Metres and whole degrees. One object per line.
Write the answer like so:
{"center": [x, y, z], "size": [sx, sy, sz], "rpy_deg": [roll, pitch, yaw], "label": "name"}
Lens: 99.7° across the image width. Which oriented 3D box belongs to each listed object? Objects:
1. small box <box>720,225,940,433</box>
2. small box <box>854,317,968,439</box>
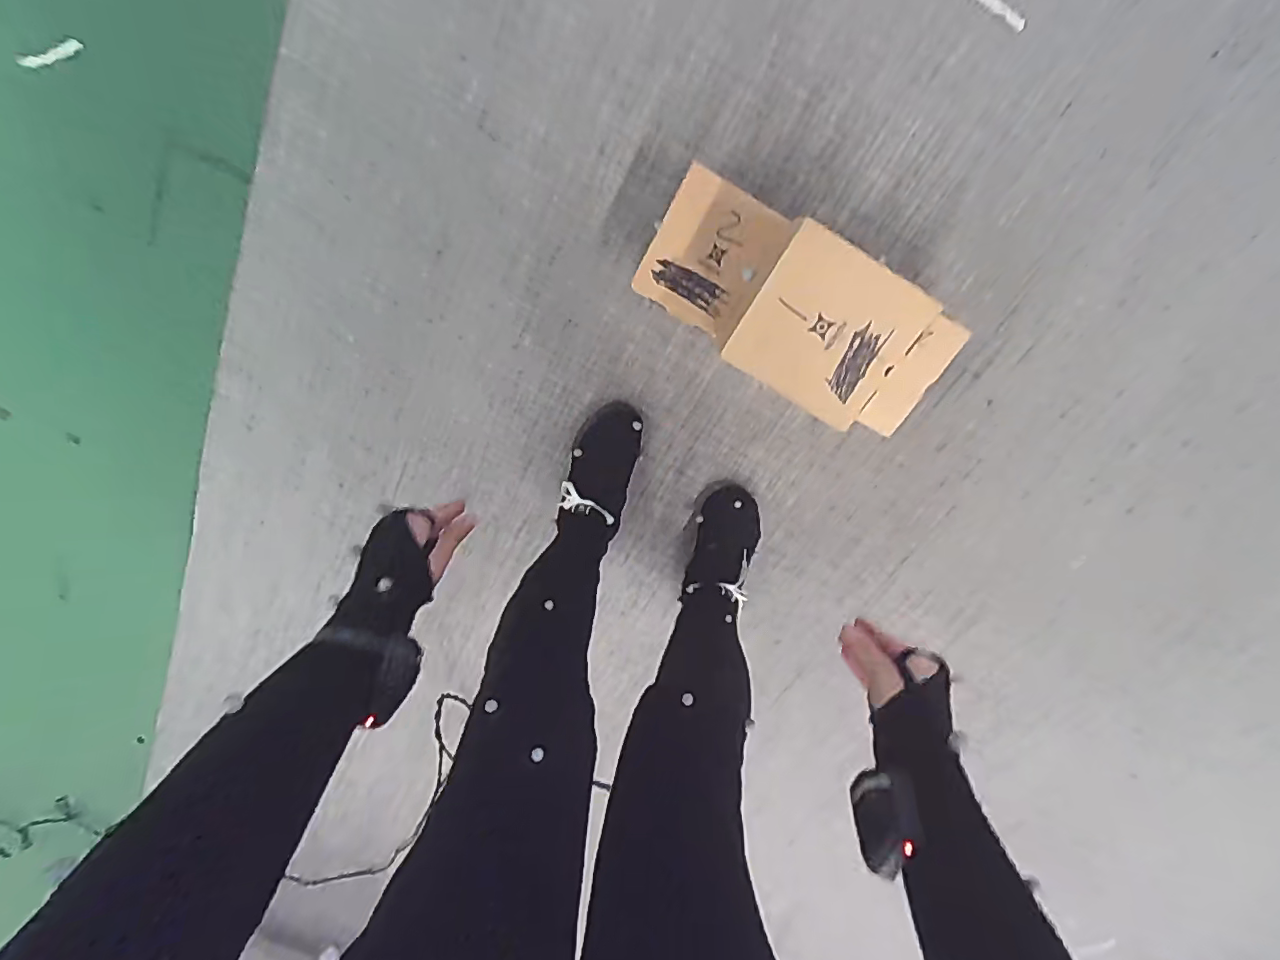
{"center": [0.214, -0.189, 0.663], "size": [0.179, 0.176, 0.168], "rpy_deg": [30, 113, -6], "label": "small box"}
{"center": [0.343, -0.195, 0.825], "size": [0.168, 0.176, 0.179], "rpy_deg": [29, 113, -6], "label": "small box"}
